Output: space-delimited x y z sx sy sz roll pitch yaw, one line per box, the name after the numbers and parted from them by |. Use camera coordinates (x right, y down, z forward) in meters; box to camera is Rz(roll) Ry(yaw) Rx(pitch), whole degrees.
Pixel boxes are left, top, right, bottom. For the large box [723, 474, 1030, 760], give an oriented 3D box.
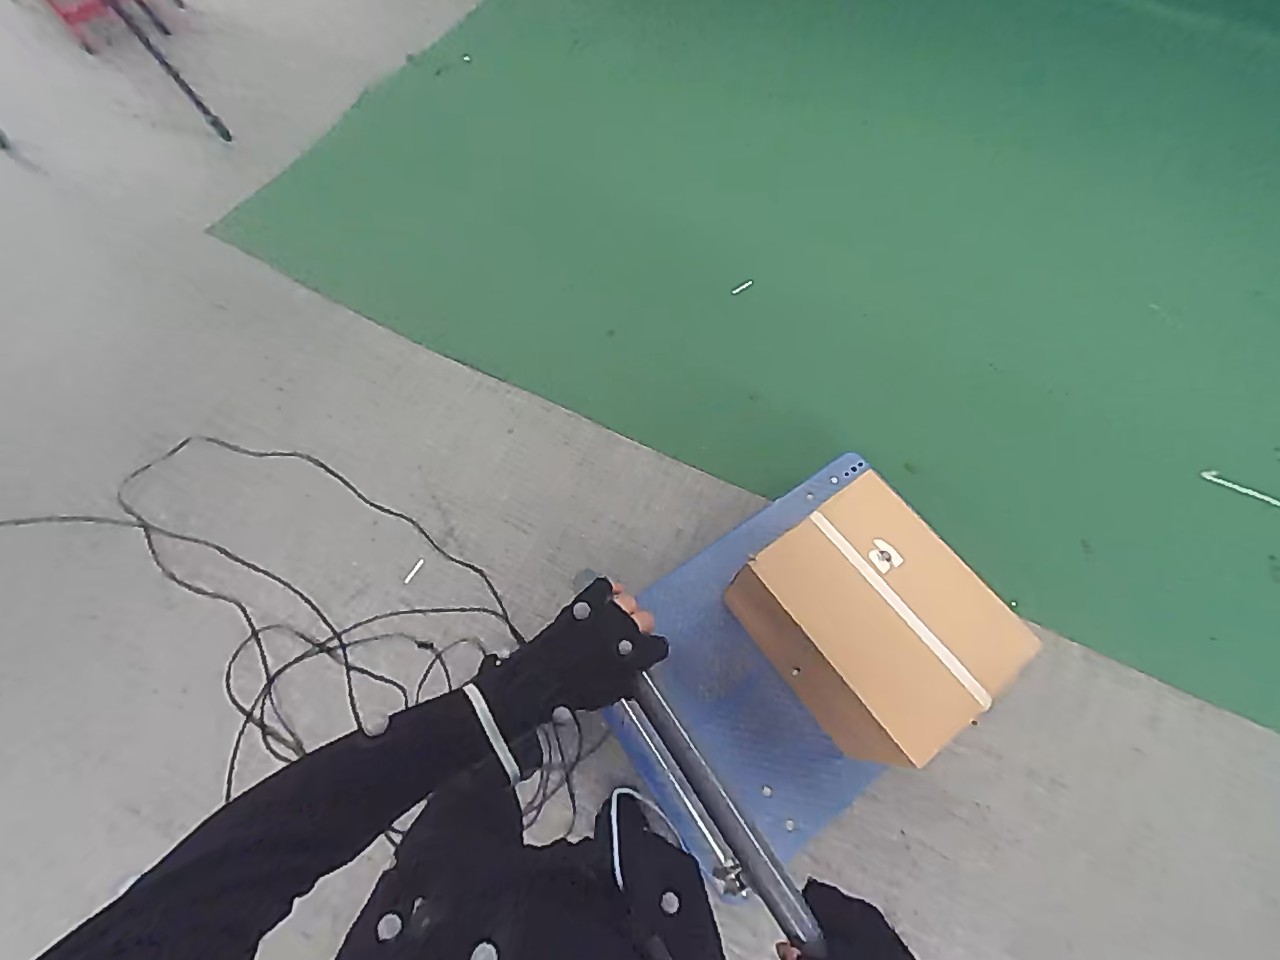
0.423 0.273 1.075 0.320 0.320 0.408 -33 70 -15 | large box
